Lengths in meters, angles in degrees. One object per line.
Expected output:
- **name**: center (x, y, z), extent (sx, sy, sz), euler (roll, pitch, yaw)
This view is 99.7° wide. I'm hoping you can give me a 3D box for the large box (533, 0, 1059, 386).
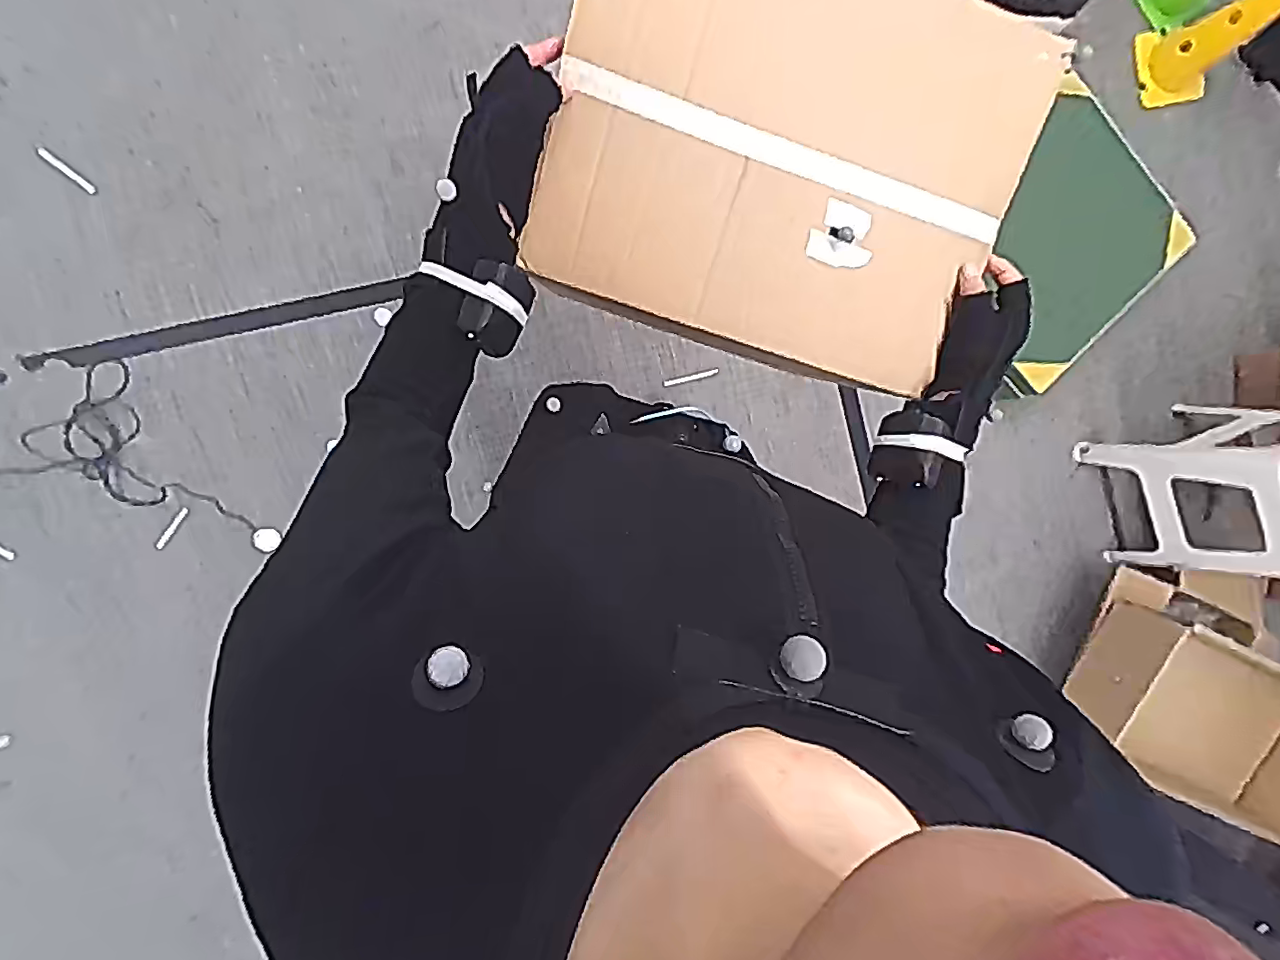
- **large box**: center (0.121, -0.324, 0.618), extent (0.408, 0.320, 0.320), euler (16, 105, -9)
